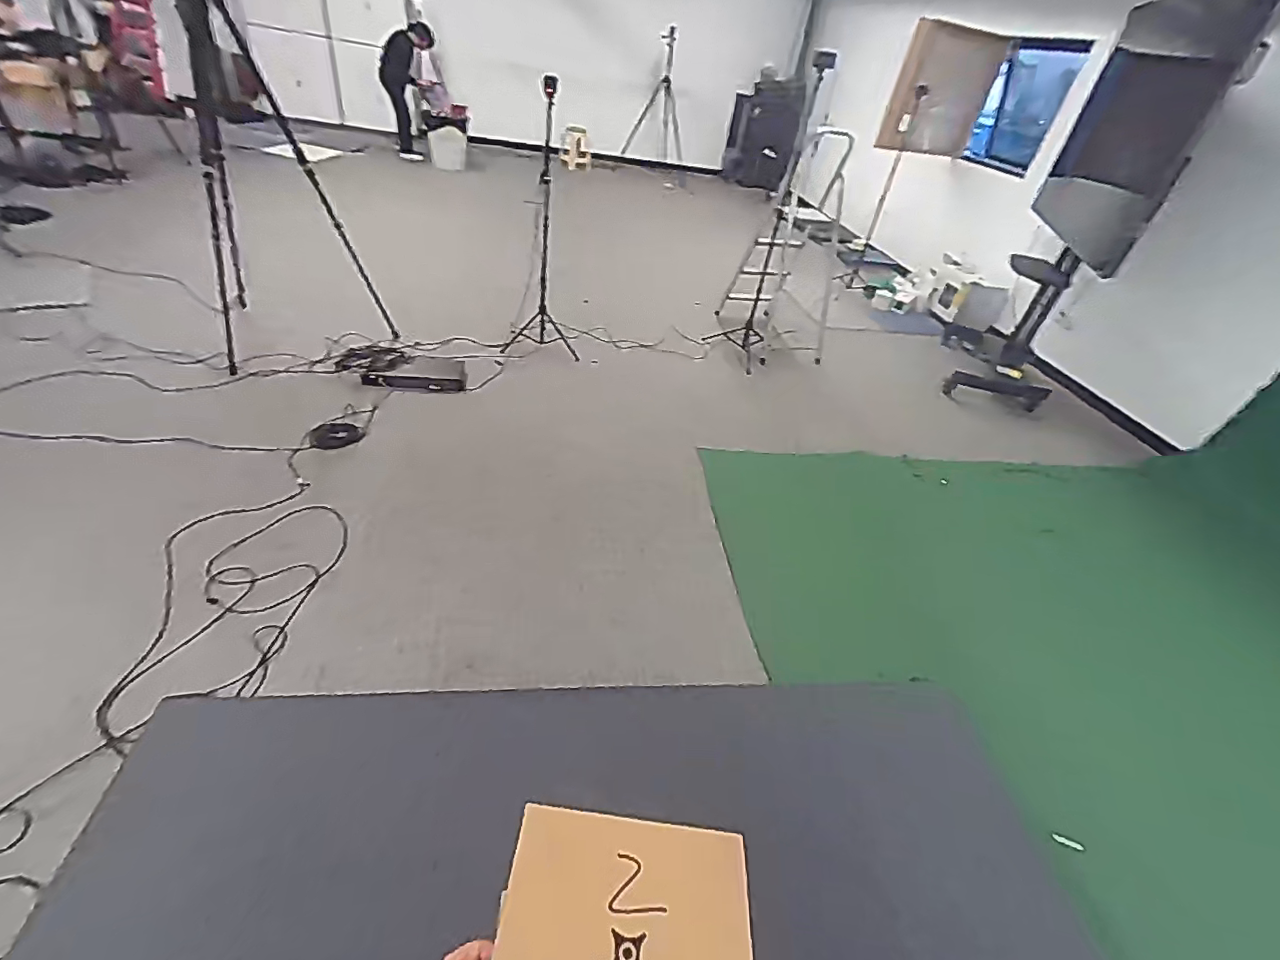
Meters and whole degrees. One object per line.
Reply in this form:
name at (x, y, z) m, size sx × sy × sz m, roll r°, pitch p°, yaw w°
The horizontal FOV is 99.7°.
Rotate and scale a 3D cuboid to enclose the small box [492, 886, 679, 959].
small box at (-0.057, 0.498, 0.486) m, size 0.168 × 0.176 × 0.179 m, roll 5°, pitch 38°, yaw -6°
